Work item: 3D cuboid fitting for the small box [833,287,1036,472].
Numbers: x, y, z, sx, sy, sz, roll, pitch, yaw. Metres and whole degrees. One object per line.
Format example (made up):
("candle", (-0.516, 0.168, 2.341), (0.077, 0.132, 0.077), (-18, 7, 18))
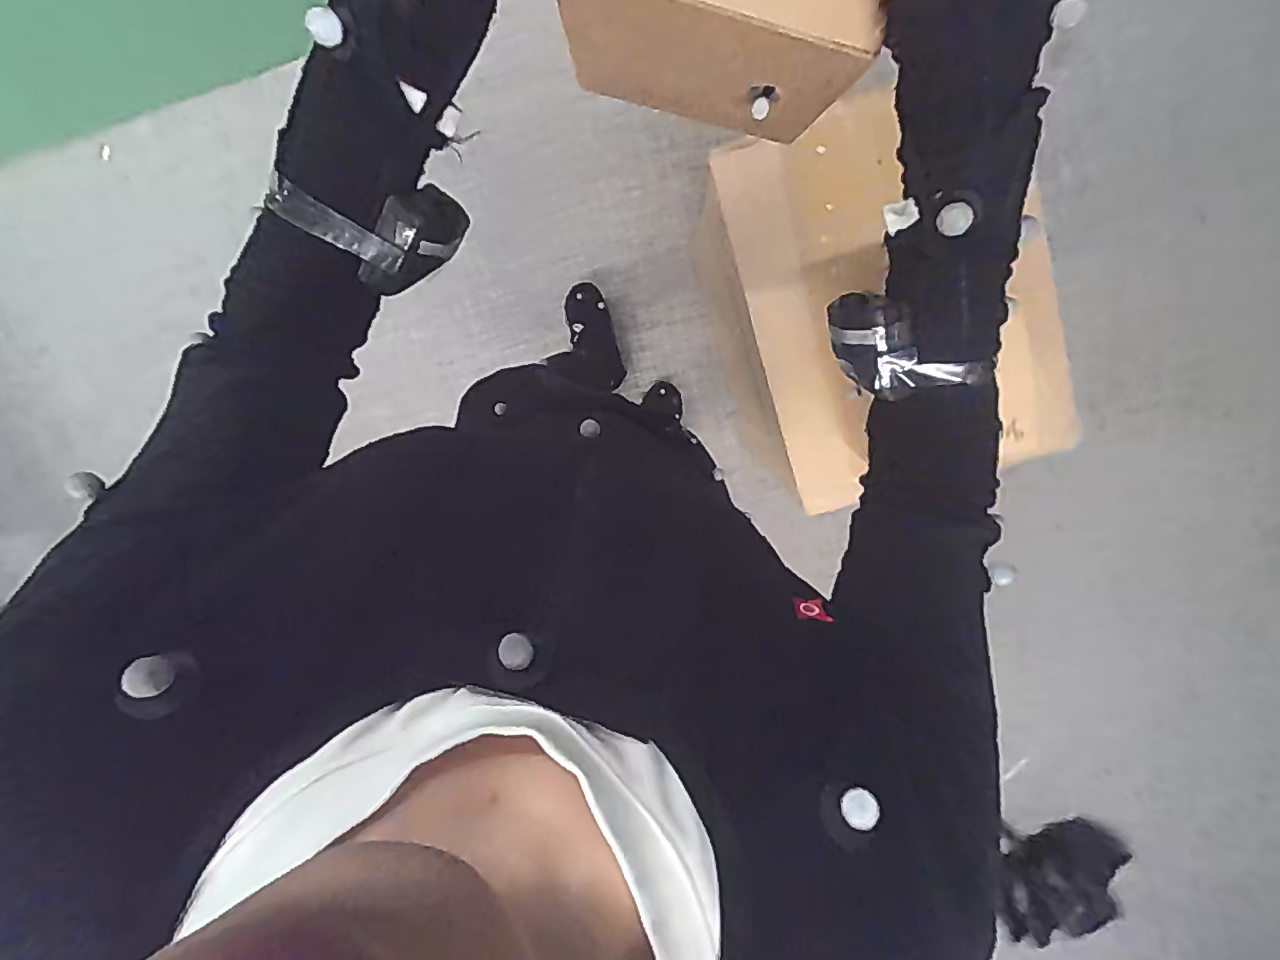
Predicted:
("small box", (0.355, -0.124, 0.682), (0.168, 0.176, 0.179), (-13, 101, 11))

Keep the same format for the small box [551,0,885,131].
("small box", (0.049, -0.339, 0.328), (0.179, 0.176, 0.168), (10, 106, -4))
